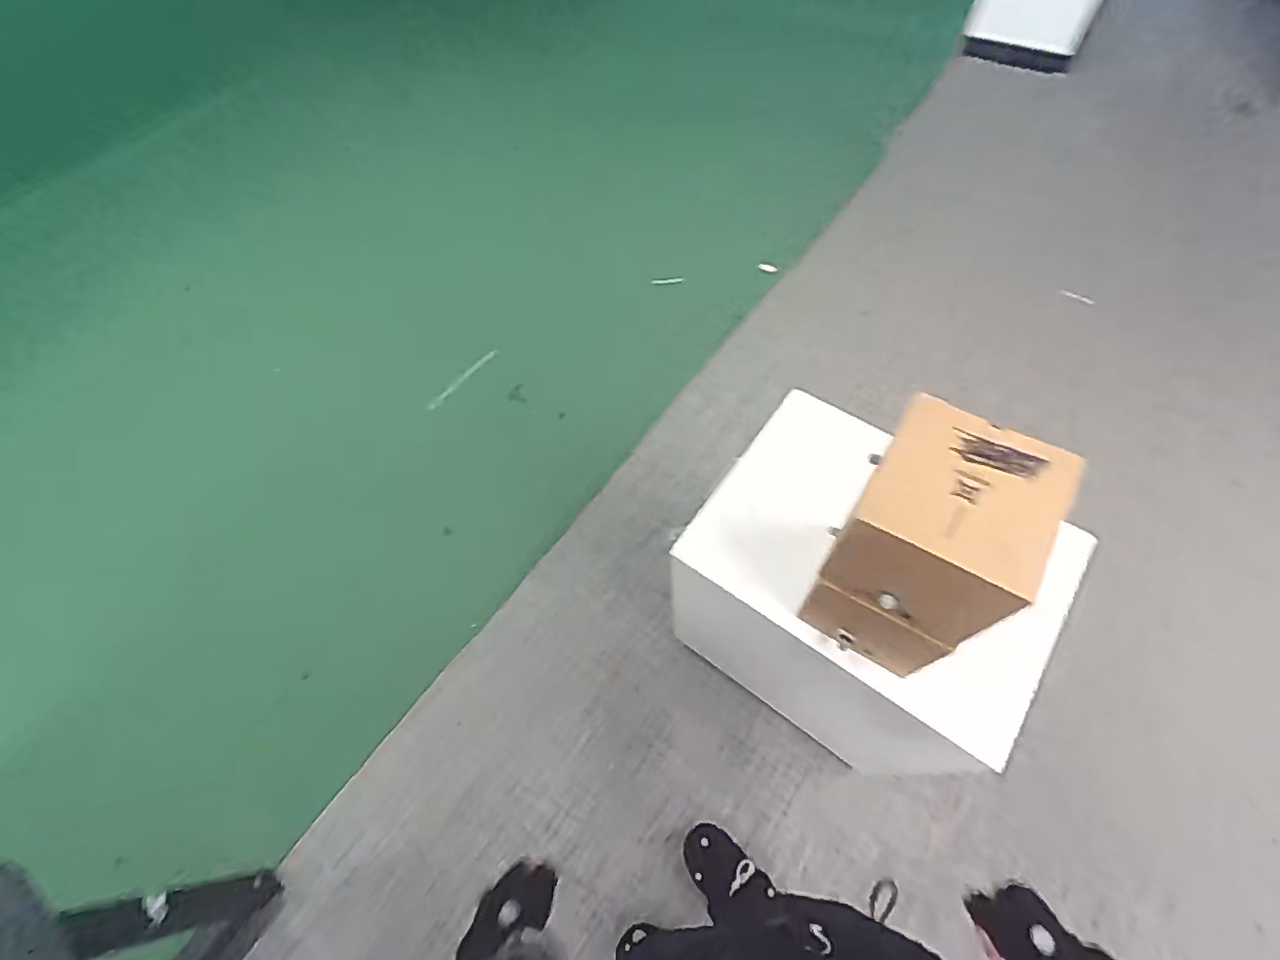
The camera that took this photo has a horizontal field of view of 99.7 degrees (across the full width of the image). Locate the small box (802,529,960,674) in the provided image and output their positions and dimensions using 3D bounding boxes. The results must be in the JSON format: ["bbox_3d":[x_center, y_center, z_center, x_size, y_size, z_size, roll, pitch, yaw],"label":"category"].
[{"bbox_3d":[0.332,0.130,0.719,0.168,0.176,0.179,27,68,20],"label":"small box"}]

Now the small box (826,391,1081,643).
[{"bbox_3d":[0.319,0.044,0.580,0.168,0.176,0.179,26,64,18],"label":"small box"}]
